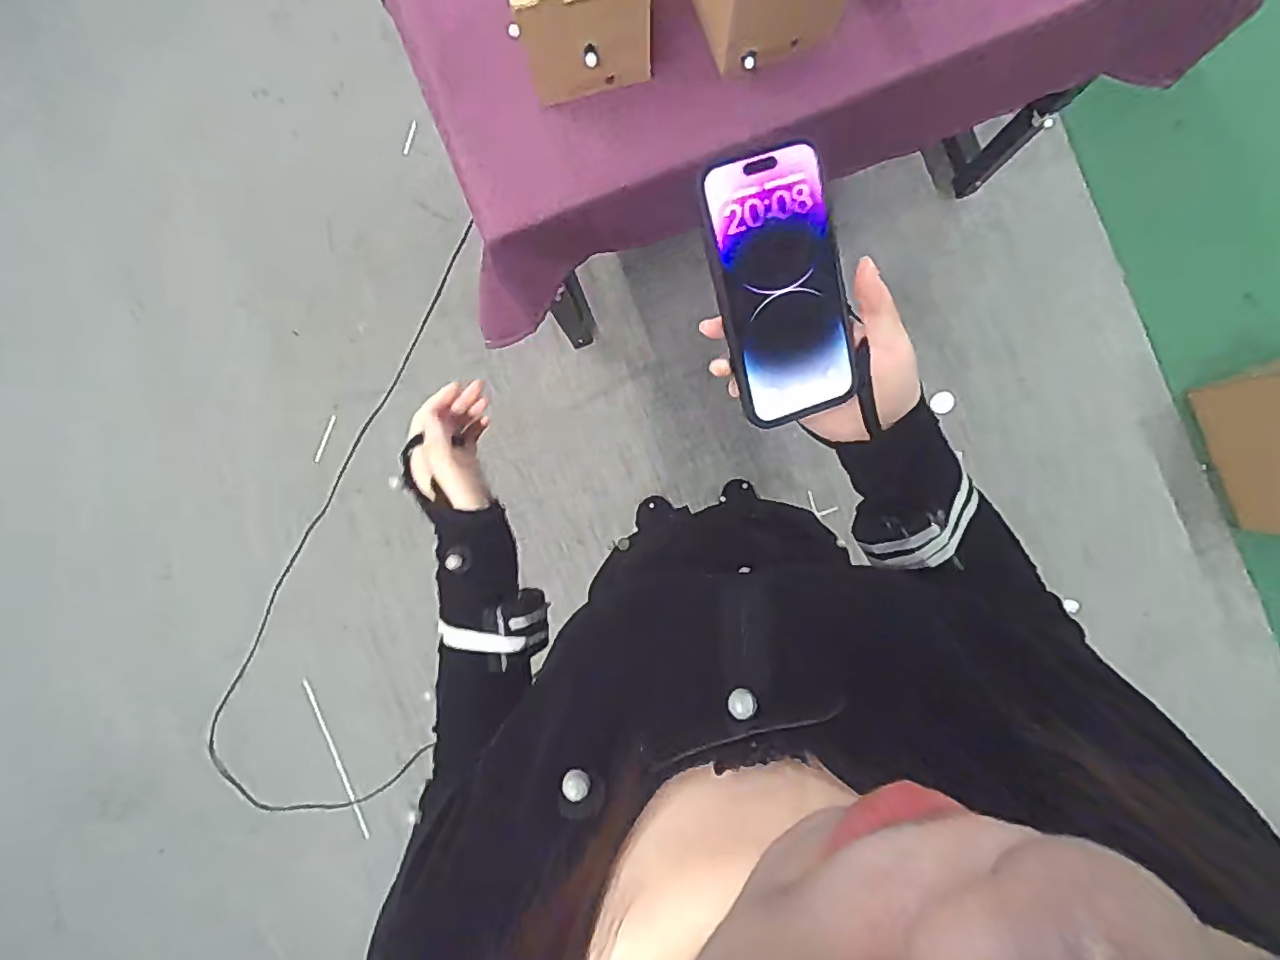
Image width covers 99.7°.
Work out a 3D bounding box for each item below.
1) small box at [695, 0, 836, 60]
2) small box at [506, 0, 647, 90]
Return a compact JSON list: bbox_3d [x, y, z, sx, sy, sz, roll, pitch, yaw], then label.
[{"bbox_3d":[0.159,-0.684,0.684,0.168,0.176,0.179,-21,88,2],"label":"small box"},{"bbox_3d":[-0.088,-0.646,0.695,0.168,0.176,0.179,-13,90,2],"label":"small box"}]
